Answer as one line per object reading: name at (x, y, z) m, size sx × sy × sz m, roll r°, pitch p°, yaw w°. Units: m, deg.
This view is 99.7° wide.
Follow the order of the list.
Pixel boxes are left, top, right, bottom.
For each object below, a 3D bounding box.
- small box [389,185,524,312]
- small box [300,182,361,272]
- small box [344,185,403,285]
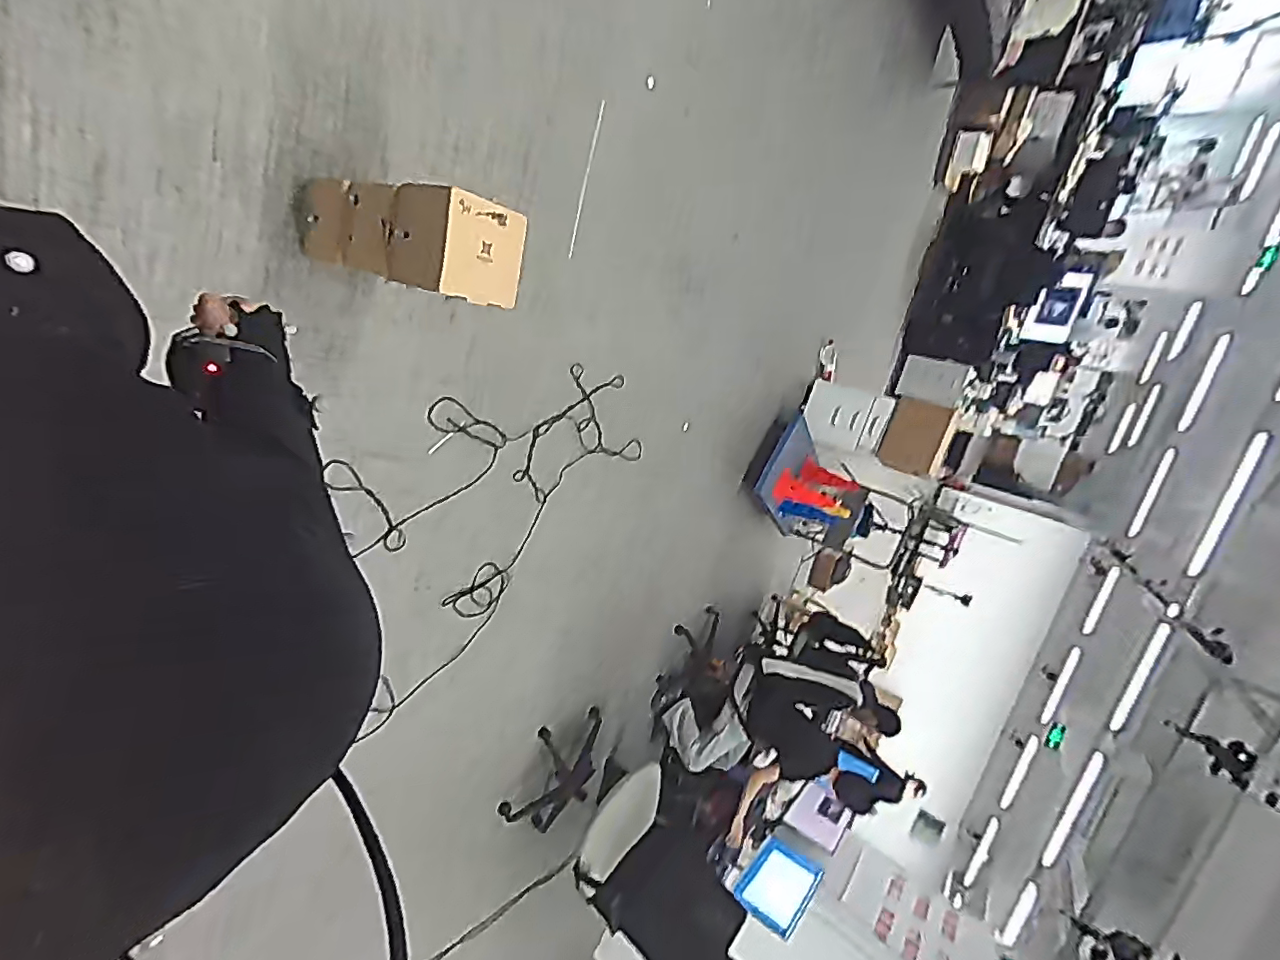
small box at (-0.348, -0.432, 1.017) m, size 0.168 × 0.176 × 0.179 m, roll -6°, pitch 115°, yaw -54°
small box at (-0.610, -0.540, 1.184) m, size 0.179 × 0.176 × 0.168 m, roll -7°, pitch 114°, yaw -52°
small box at (-0.477, -0.485, 1.104) m, size 0.179 × 0.176 × 0.168 m, roll -7°, pitch 115°, yaw -54°
